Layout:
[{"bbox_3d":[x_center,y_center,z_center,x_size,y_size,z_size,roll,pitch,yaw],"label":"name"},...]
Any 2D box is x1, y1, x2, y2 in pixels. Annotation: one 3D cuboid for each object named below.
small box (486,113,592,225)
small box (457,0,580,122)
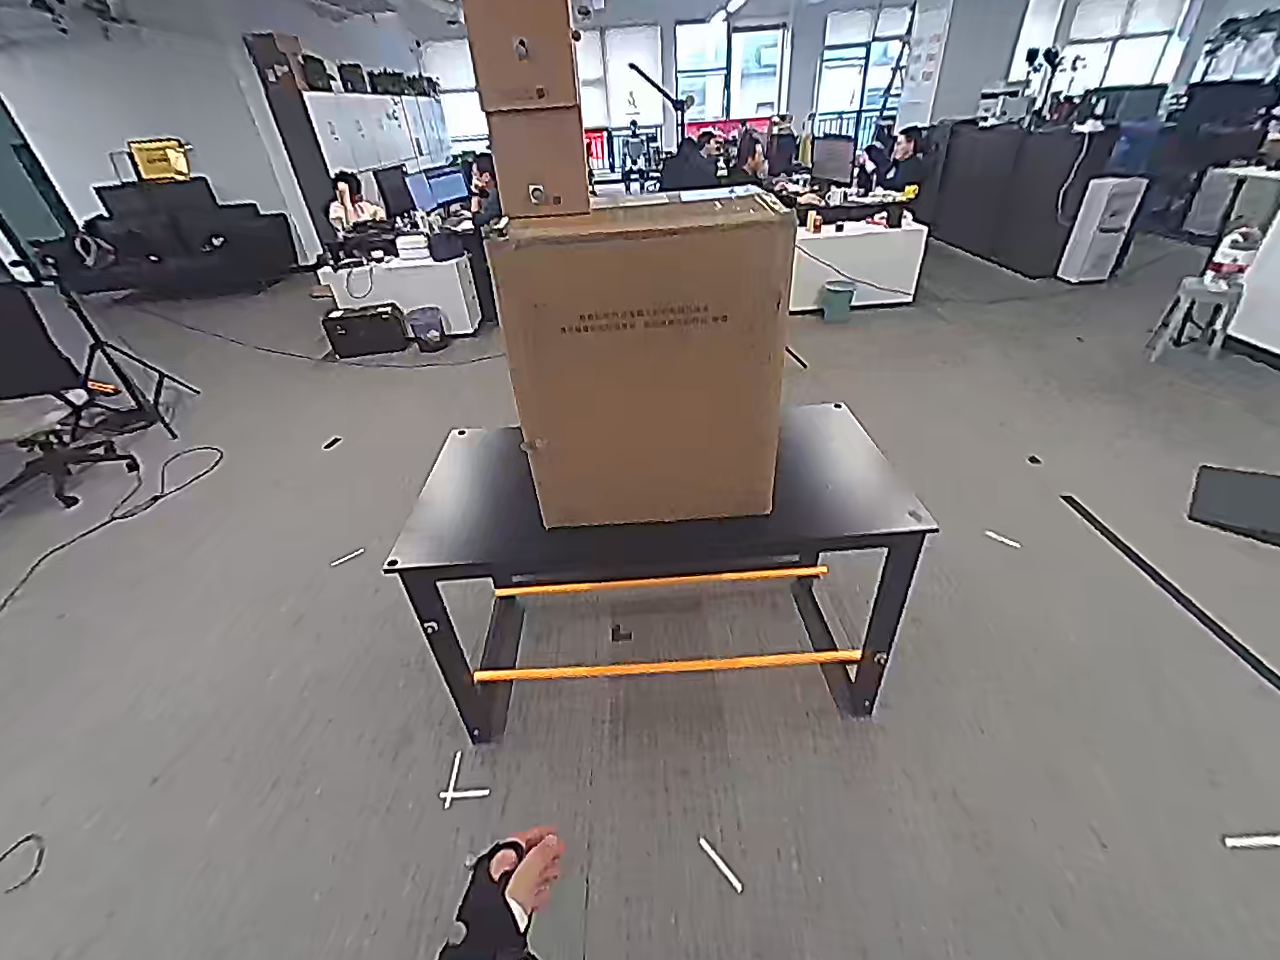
[{"bbox_3d":[-0.184,-0.594,1.035,0.168,0.176,0.179,-7,35,-2],"label":"small box"},{"bbox_3d":[-0.196,-0.721,0.931,0.168,0.176,0.179,-5,34,-1],"label":"small box"}]
